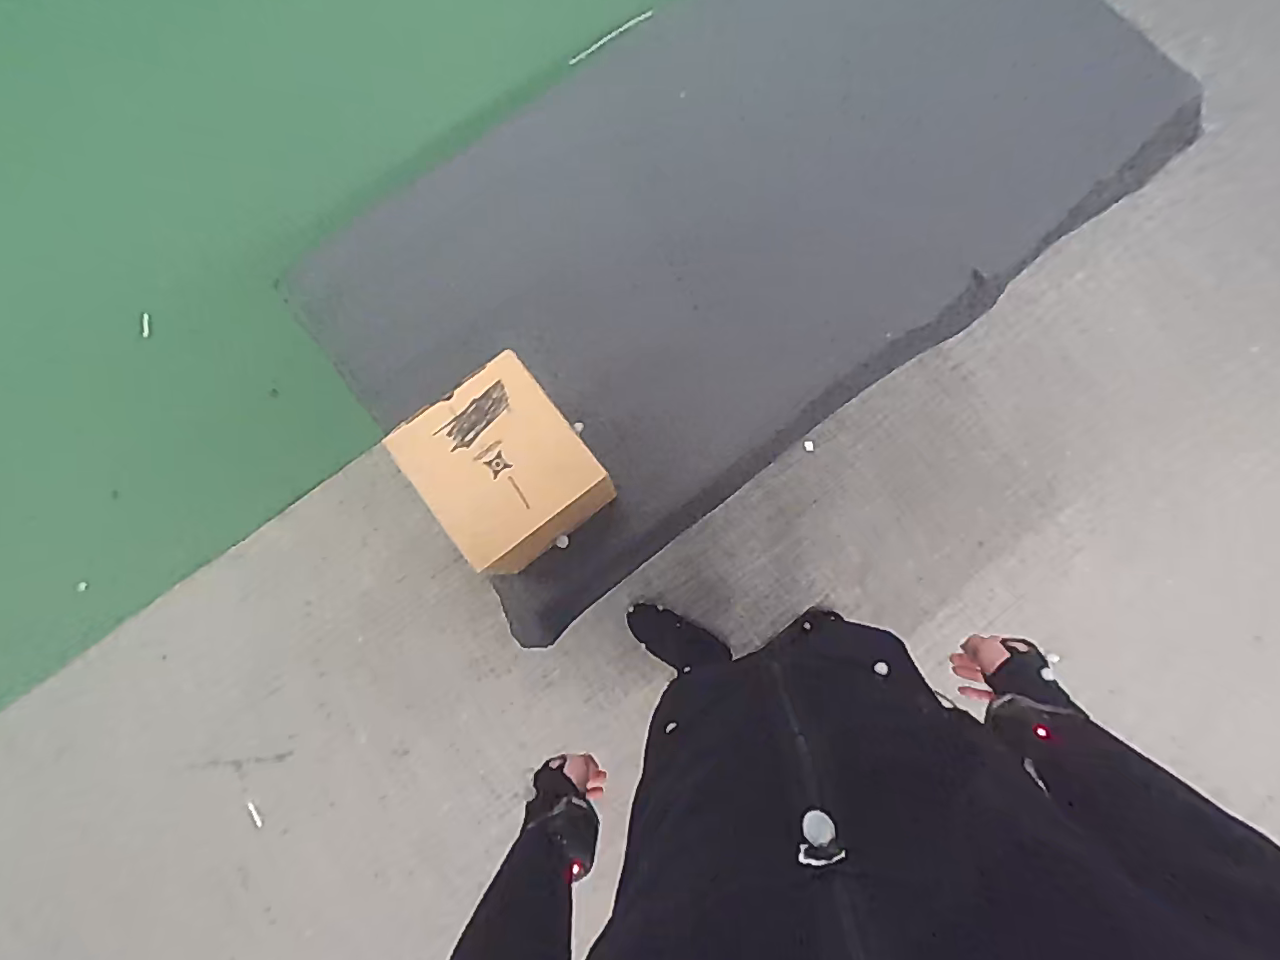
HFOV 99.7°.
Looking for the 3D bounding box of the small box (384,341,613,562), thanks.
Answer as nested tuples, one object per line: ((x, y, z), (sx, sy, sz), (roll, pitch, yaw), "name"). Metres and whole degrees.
((-0.147, -0.018, 0.622), (0.168, 0.176, 0.179), (-37, 82, -5), "small box")
